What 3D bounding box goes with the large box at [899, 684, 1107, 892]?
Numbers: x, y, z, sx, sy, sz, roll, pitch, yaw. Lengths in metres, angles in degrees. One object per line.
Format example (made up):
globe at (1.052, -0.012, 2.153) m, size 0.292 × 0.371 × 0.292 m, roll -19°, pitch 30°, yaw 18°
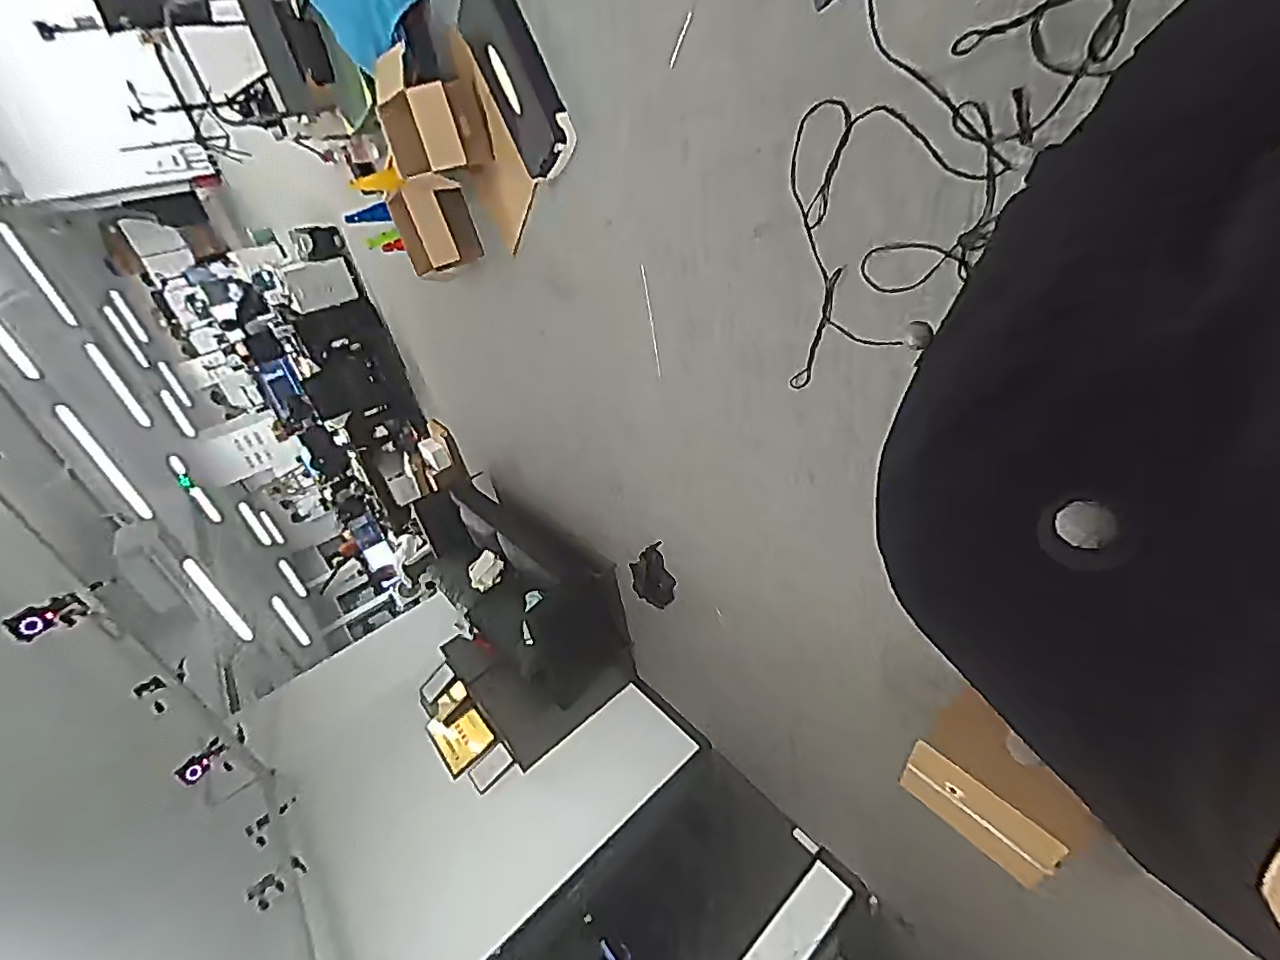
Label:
large box at (1.098, 0.931, 1.670) m, size 0.408 × 0.320 × 0.320 m, roll 34°, pitch 142°, yaw 40°
